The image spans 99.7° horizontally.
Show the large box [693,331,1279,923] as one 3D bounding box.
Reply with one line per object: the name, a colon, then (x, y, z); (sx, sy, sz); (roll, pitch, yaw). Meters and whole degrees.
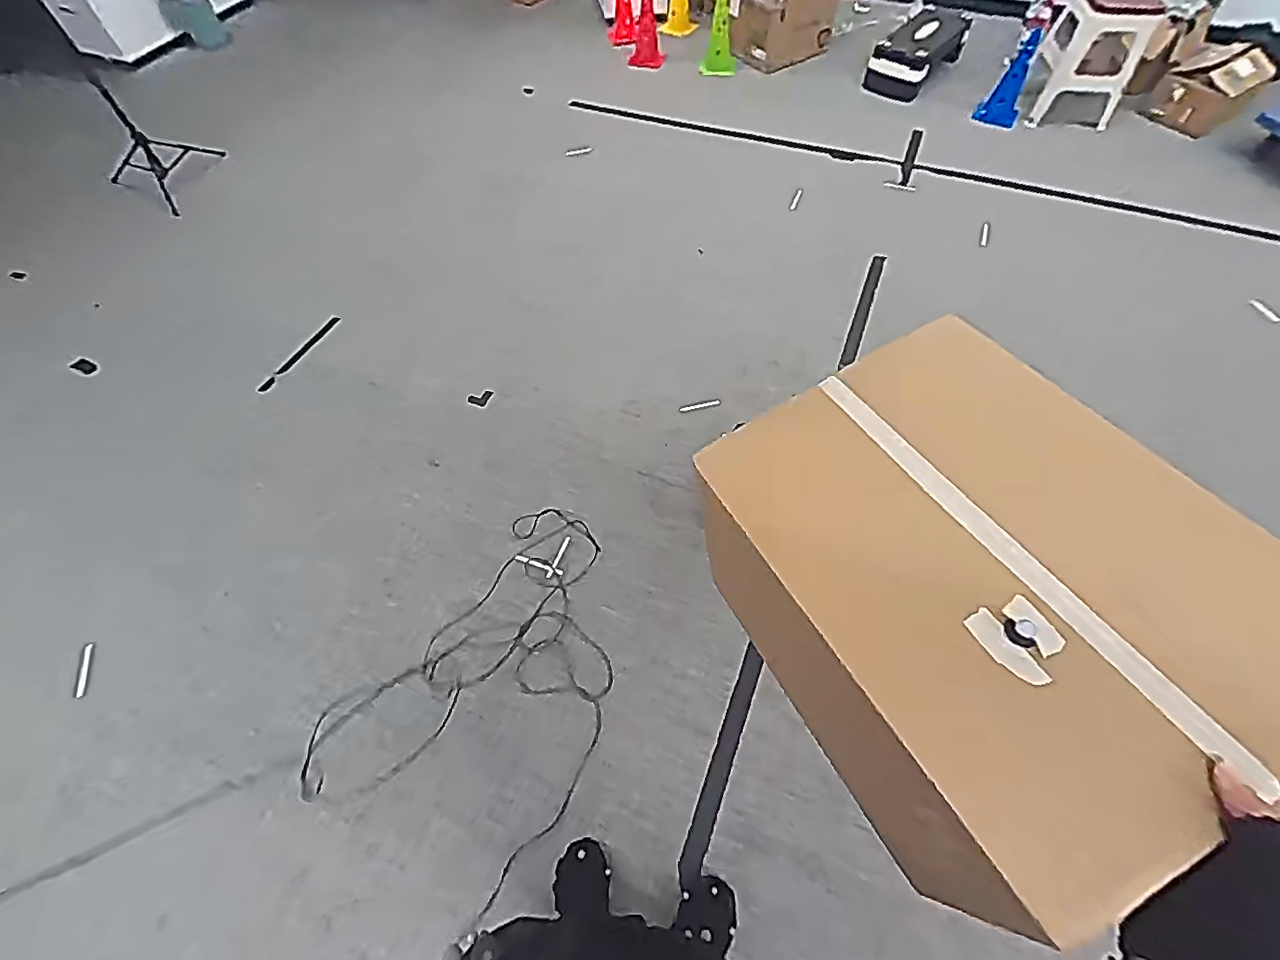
large box: (0.295, 0.128, 0.565); (0.320, 0.320, 0.408); (-29, 58, -7)
